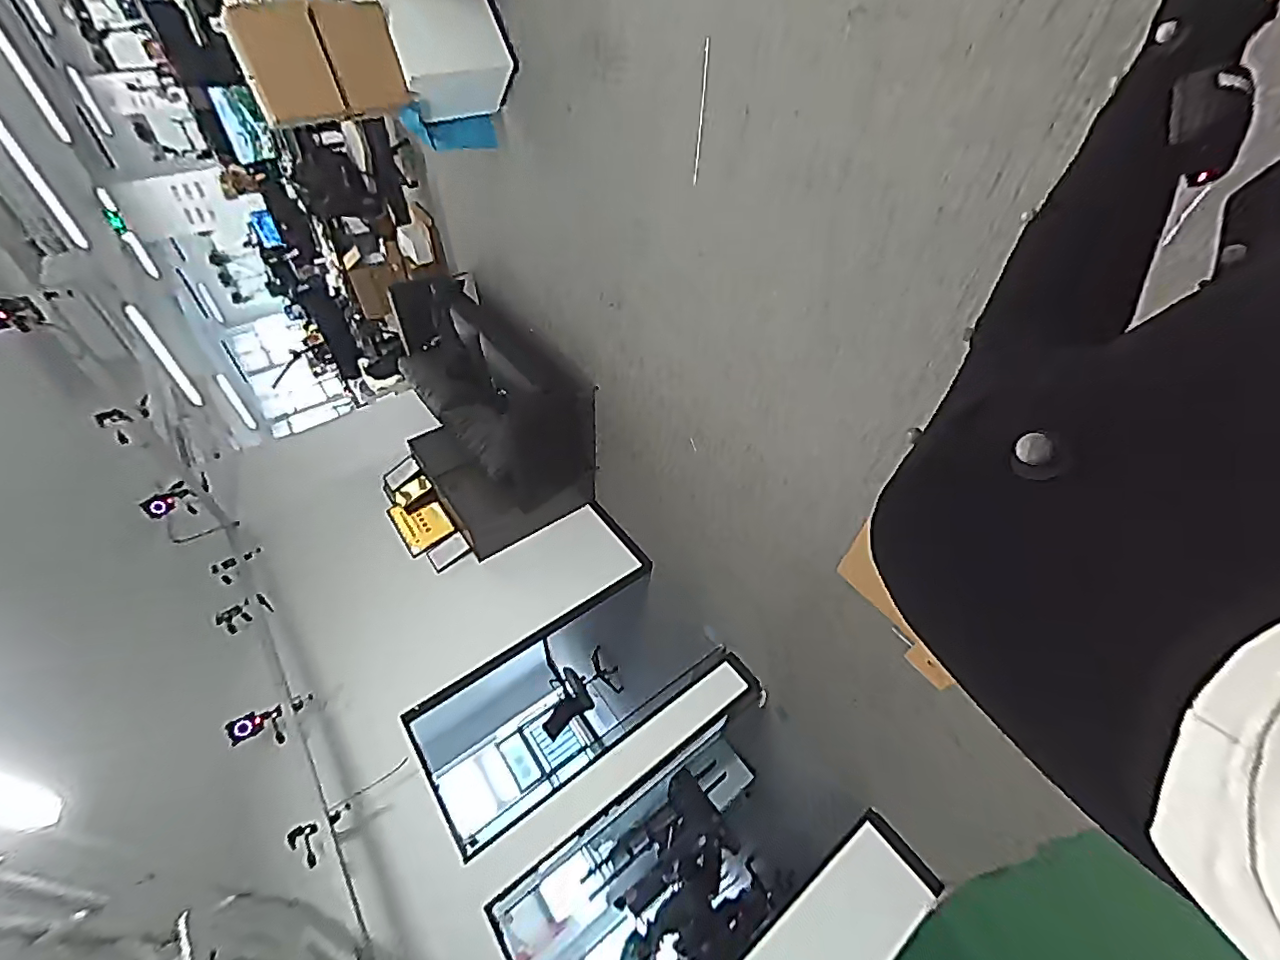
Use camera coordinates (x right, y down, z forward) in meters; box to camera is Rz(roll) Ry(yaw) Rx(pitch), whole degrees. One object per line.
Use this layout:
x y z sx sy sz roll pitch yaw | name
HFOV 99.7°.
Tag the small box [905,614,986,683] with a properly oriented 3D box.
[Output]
1.179 0.642 2.087 0.179 0.176 0.168 46 151 29 | small box
